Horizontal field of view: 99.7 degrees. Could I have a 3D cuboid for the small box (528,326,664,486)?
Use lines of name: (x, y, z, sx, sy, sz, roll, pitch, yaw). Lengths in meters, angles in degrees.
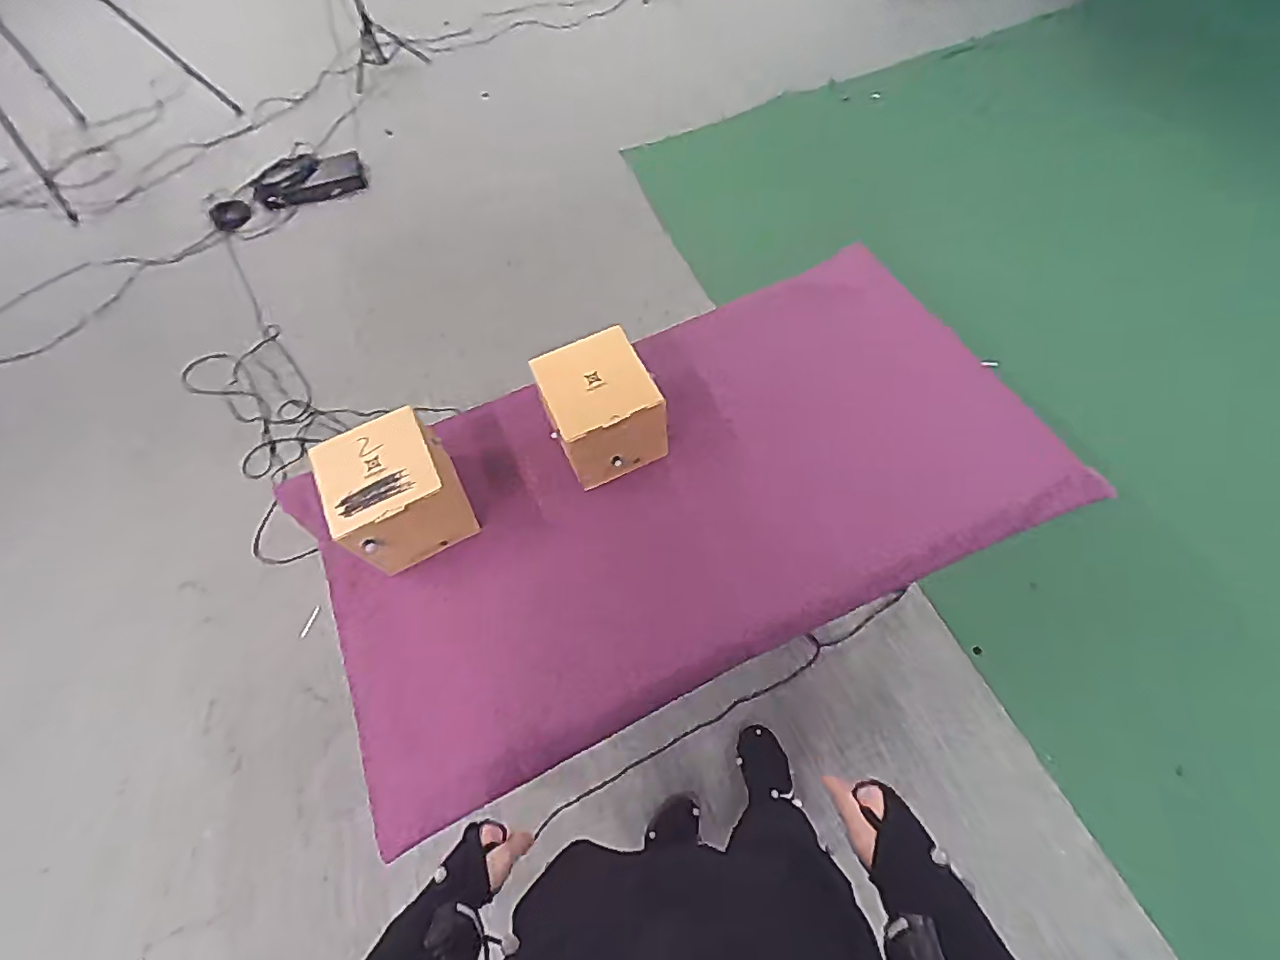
small box: (-0.069, -0.121, 0.918, 0.168, 0.176, 0.179, -25, 64, -8)
